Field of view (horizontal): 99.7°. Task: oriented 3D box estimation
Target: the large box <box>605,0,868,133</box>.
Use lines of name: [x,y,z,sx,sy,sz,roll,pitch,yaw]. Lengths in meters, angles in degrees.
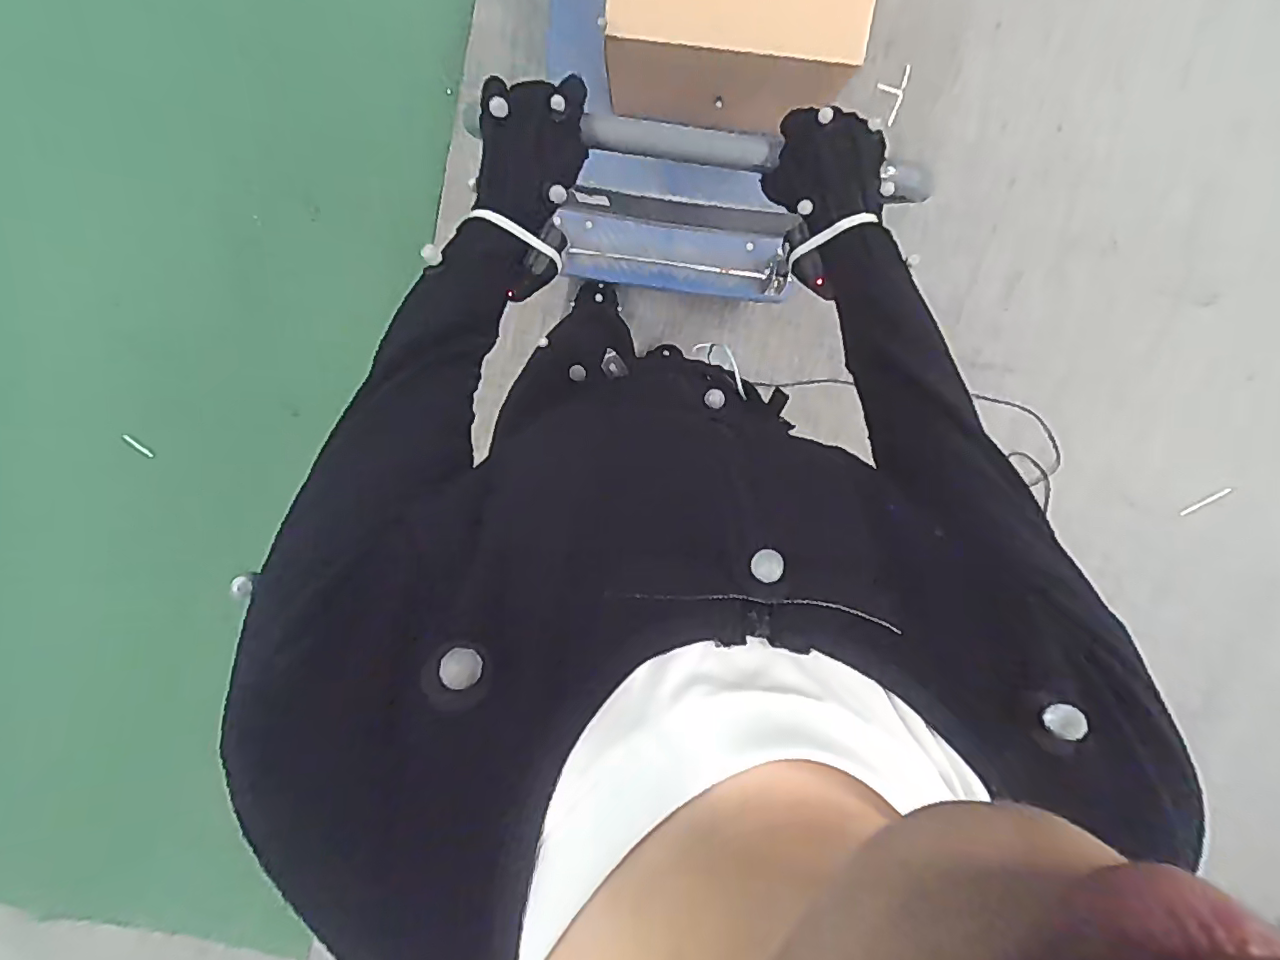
large box: [0.161,-0.845,0.948,0.408,0.320,0.320,6,104,0]
